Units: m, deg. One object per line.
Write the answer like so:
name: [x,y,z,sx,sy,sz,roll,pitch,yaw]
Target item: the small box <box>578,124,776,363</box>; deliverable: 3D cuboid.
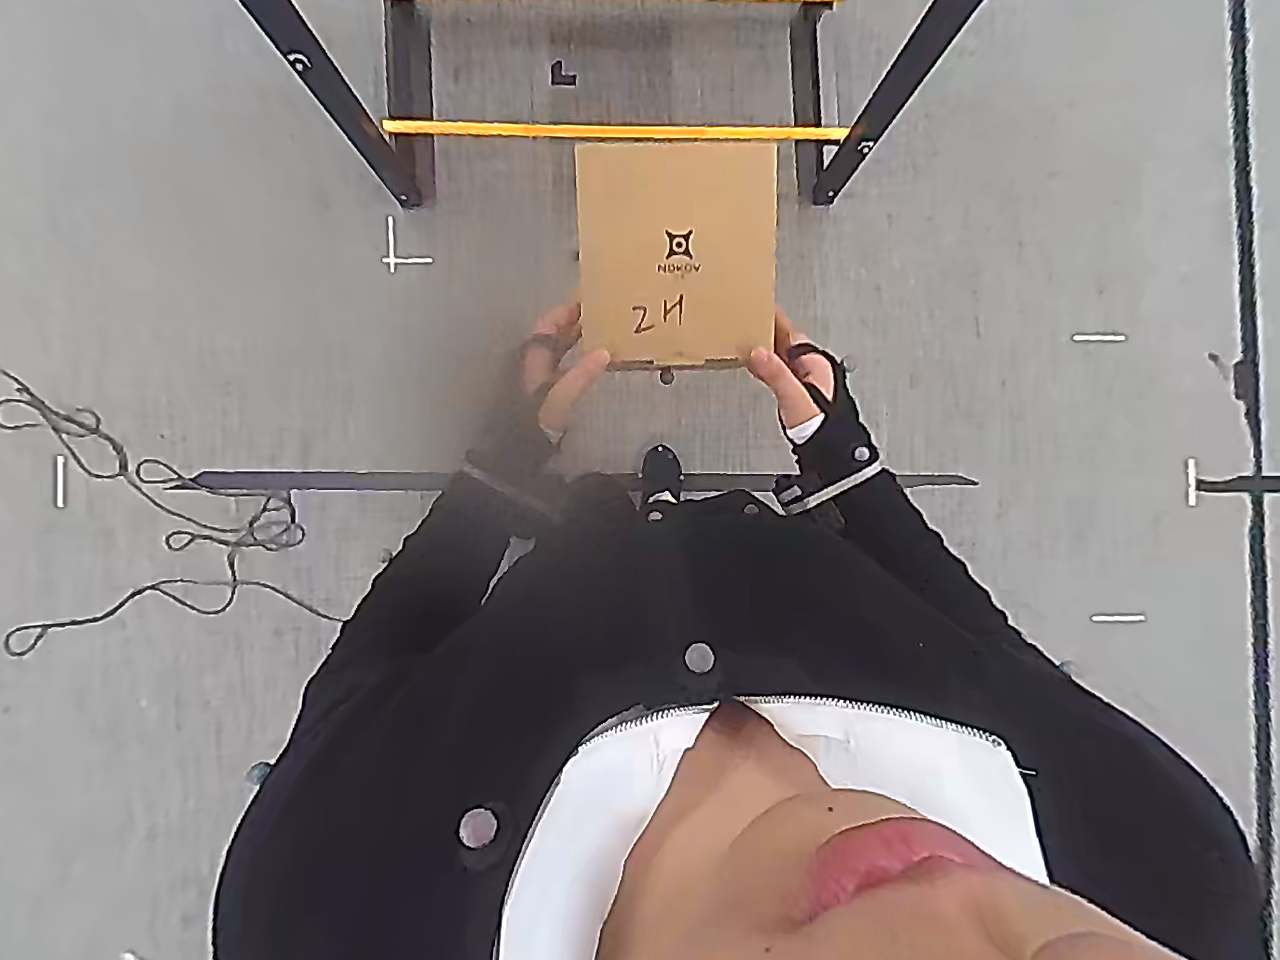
small box: [0.028,-0.211,0.526,0.168,0.176,0.179,-2,98,-1]
